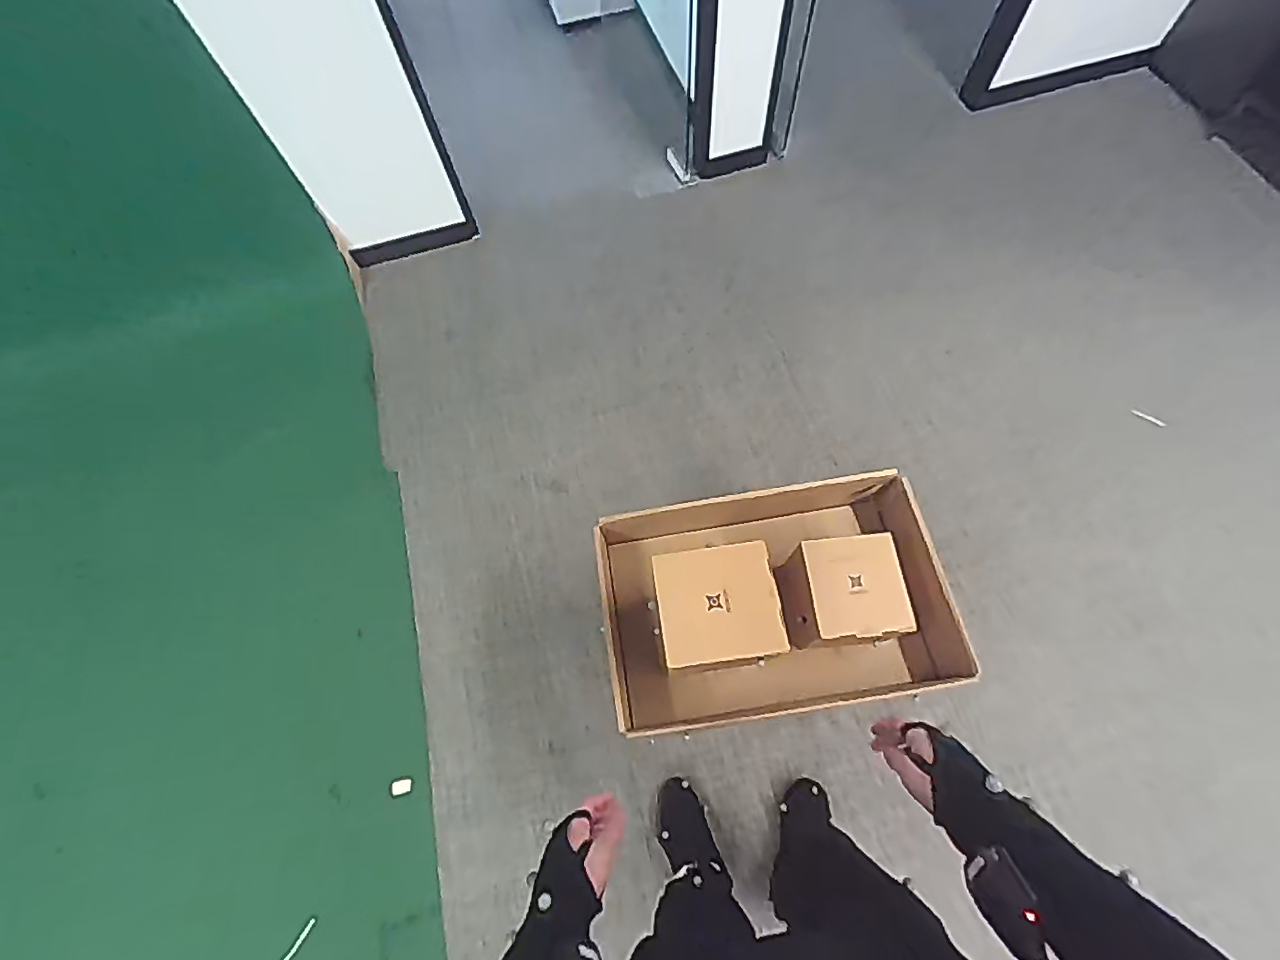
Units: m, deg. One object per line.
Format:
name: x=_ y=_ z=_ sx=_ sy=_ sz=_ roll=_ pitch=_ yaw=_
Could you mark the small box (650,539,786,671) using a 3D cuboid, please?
small box: x=0.117 y=0.206 z=0.865 sx=0.179 sy=0.176 sz=0.168 roll=-9 pitch=67 yaw=0
